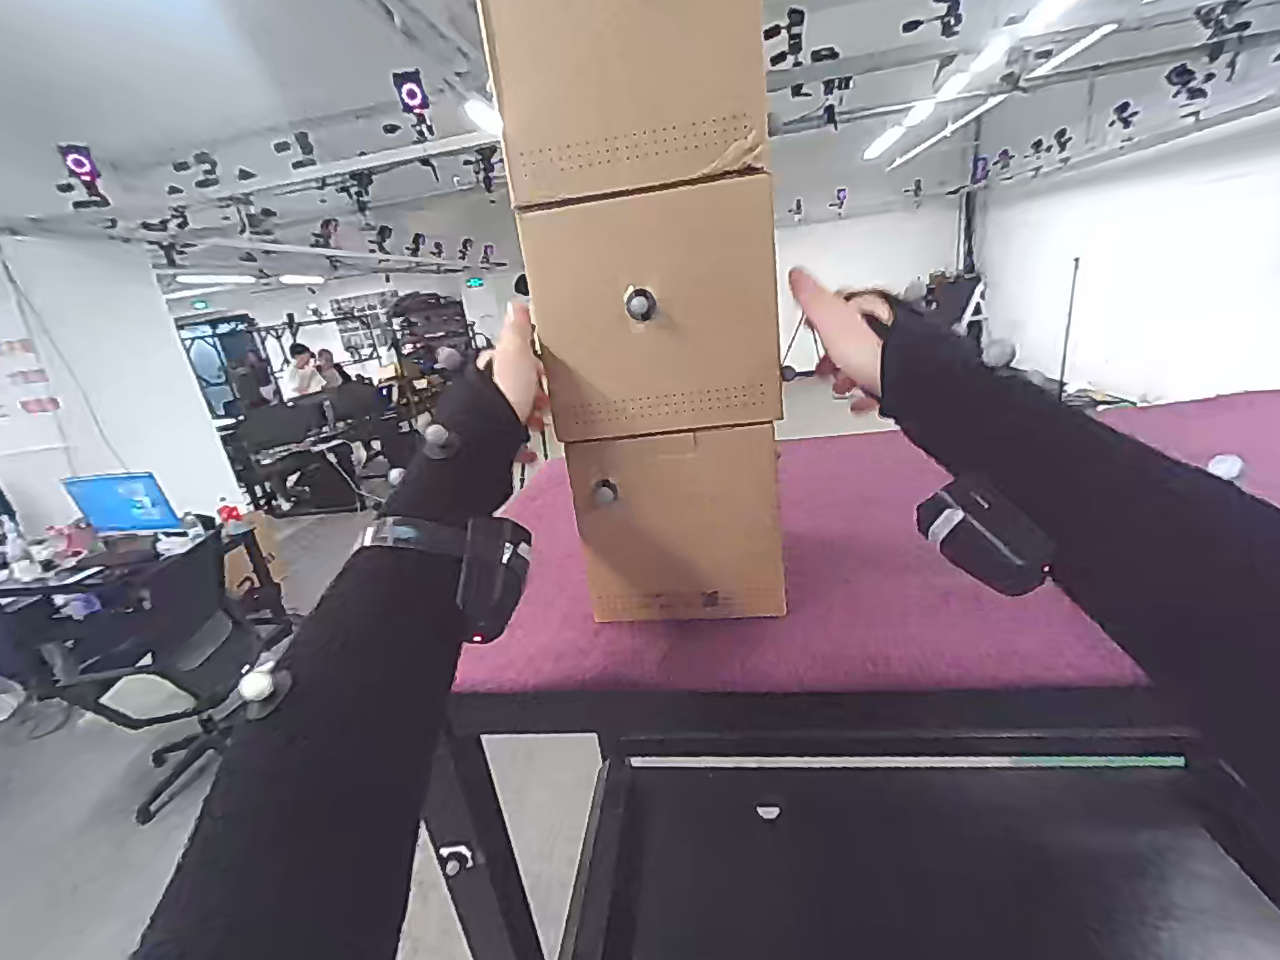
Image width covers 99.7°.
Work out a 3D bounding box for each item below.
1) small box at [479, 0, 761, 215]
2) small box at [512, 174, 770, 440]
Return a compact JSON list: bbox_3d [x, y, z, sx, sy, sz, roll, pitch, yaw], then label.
[{"bbox_3d":[-0.007,-0.294,0.415,0.179,0.176,0.168,-5,18,9],"label":"small box"},{"bbox_3d":[0.016,-0.140,0.465,0.179,0.176,0.168,-6,18,9],"label":"small box"}]
